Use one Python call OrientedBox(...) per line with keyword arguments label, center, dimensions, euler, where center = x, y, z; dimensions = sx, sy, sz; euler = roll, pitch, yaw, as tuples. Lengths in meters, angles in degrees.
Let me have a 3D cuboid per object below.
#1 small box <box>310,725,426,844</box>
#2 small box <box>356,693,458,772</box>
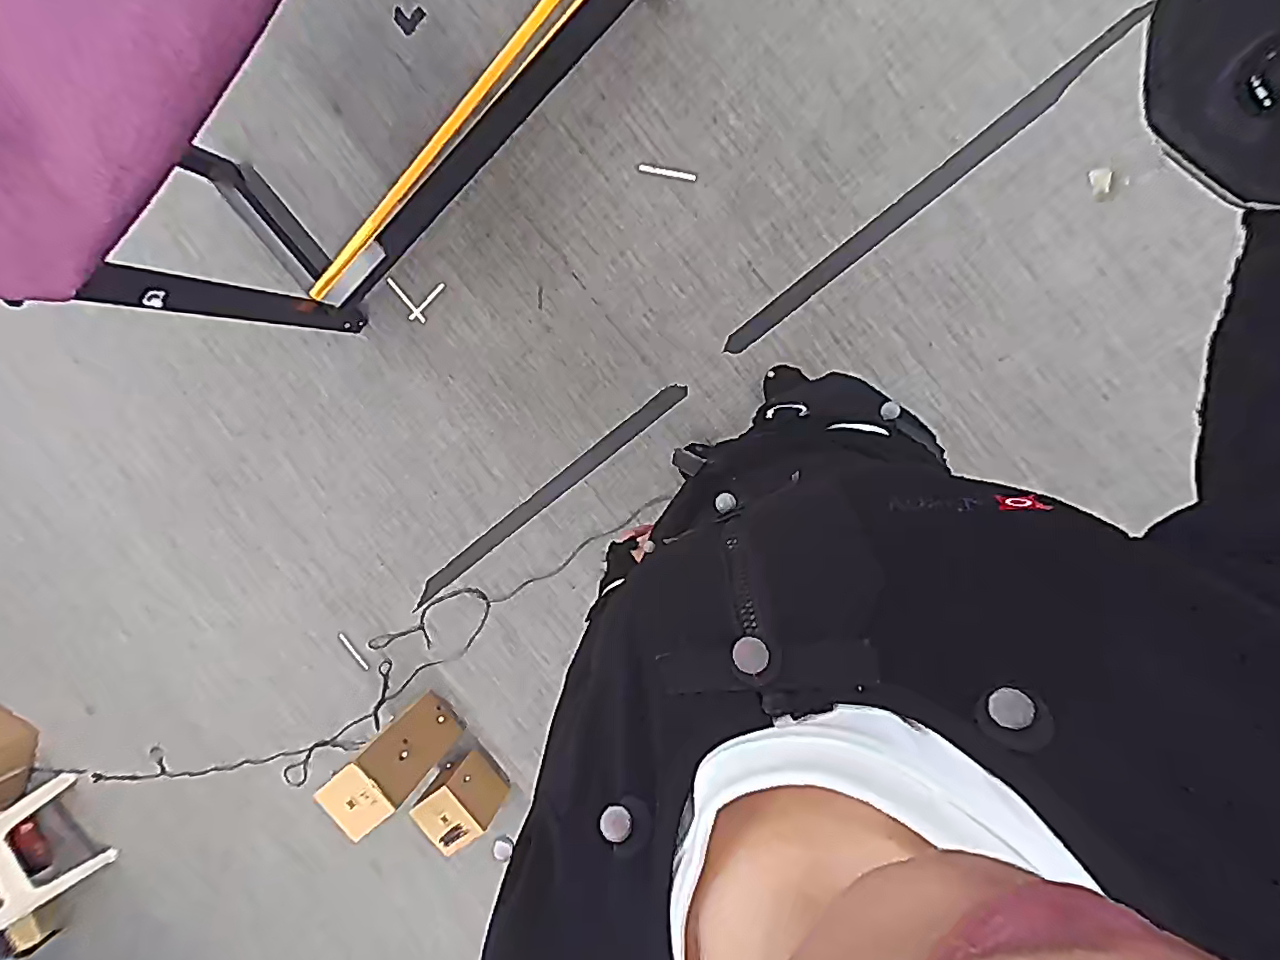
OrientedBox(label="small box", center=(-0.702, 0.790, 1.416), dimensions=(0.179, 0.176, 0.168), euler=(-40, 91, 14))
OrientedBox(label="small box", center=(-0.672, 0.763, 1.577), dimensions=(0.179, 0.176, 0.168), euler=(-39, 91, 13))
